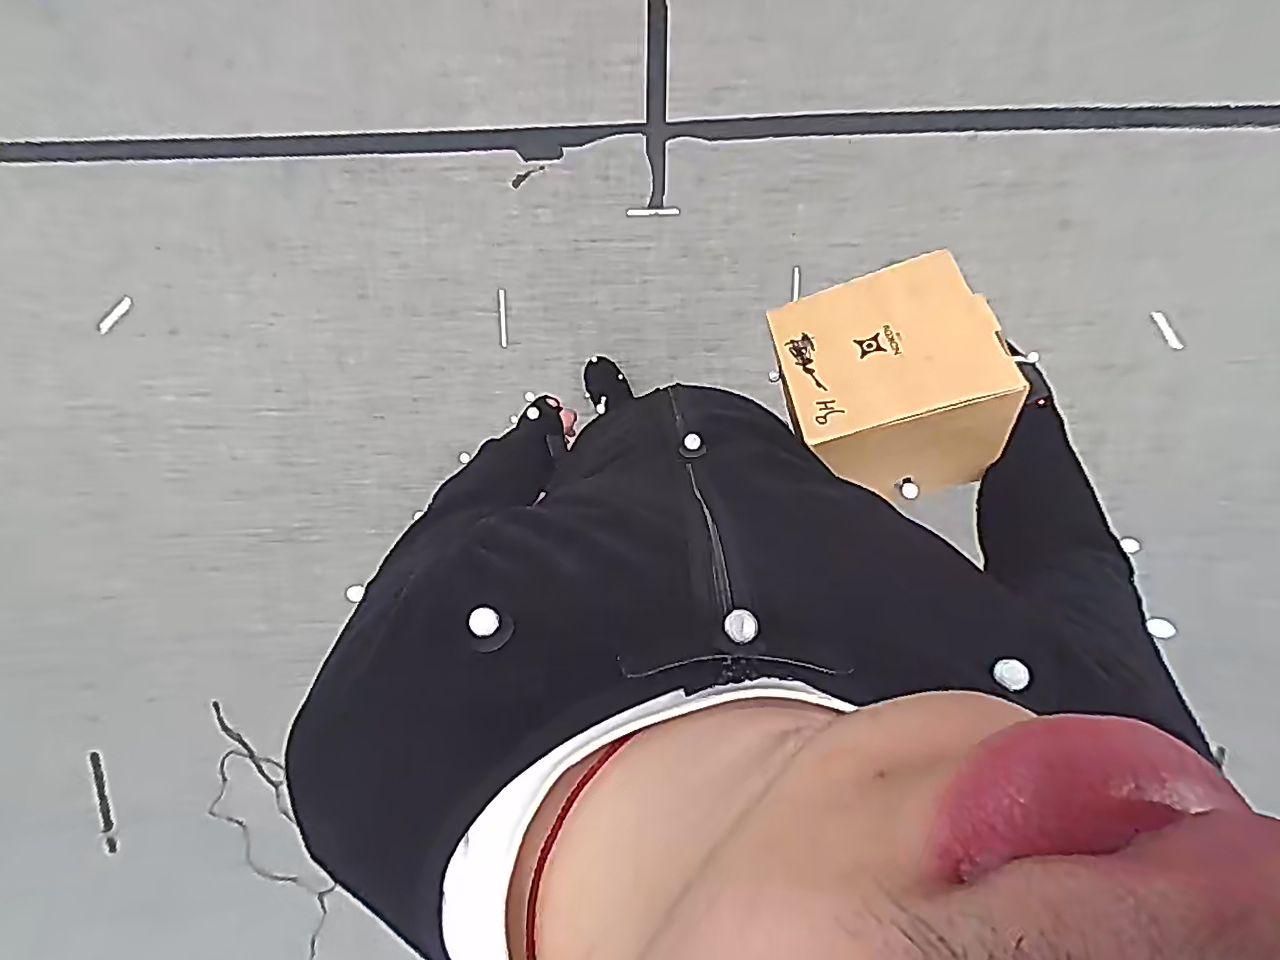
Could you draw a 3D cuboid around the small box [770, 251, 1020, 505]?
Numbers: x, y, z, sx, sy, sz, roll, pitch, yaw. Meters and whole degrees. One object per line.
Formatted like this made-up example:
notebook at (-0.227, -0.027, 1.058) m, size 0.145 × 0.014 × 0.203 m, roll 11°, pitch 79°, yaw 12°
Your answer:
small box at (0.249, -0.093, 0.565) m, size 0.179 × 0.176 × 0.168 m, roll -16°, pitch 59°, yaw 15°
